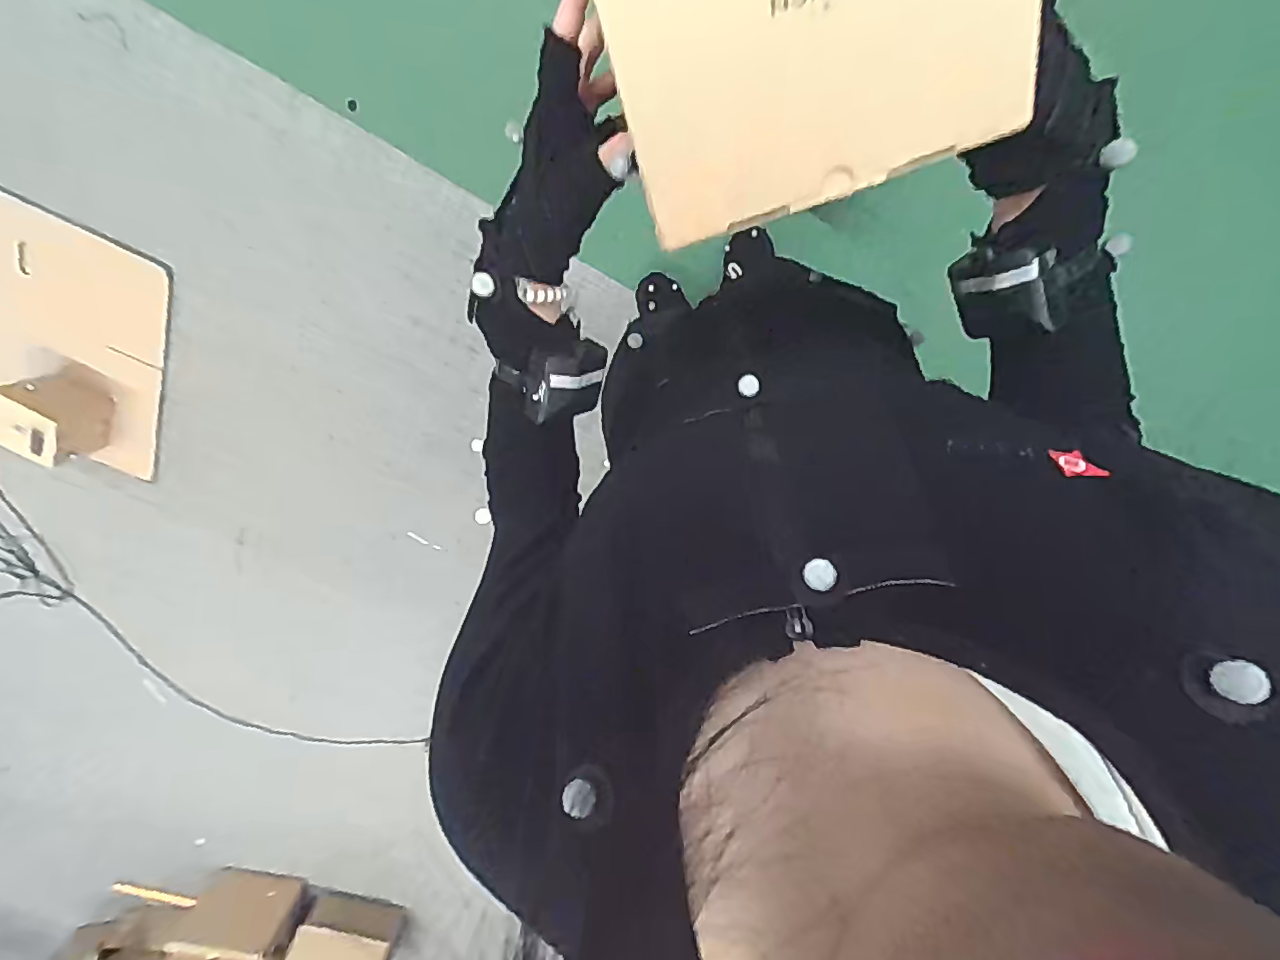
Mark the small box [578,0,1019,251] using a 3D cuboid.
[{"bbox_3d":[0.055,-0.244,0.268,0.168,0.176,0.179,-17,125,10],"label":"small box"}]
